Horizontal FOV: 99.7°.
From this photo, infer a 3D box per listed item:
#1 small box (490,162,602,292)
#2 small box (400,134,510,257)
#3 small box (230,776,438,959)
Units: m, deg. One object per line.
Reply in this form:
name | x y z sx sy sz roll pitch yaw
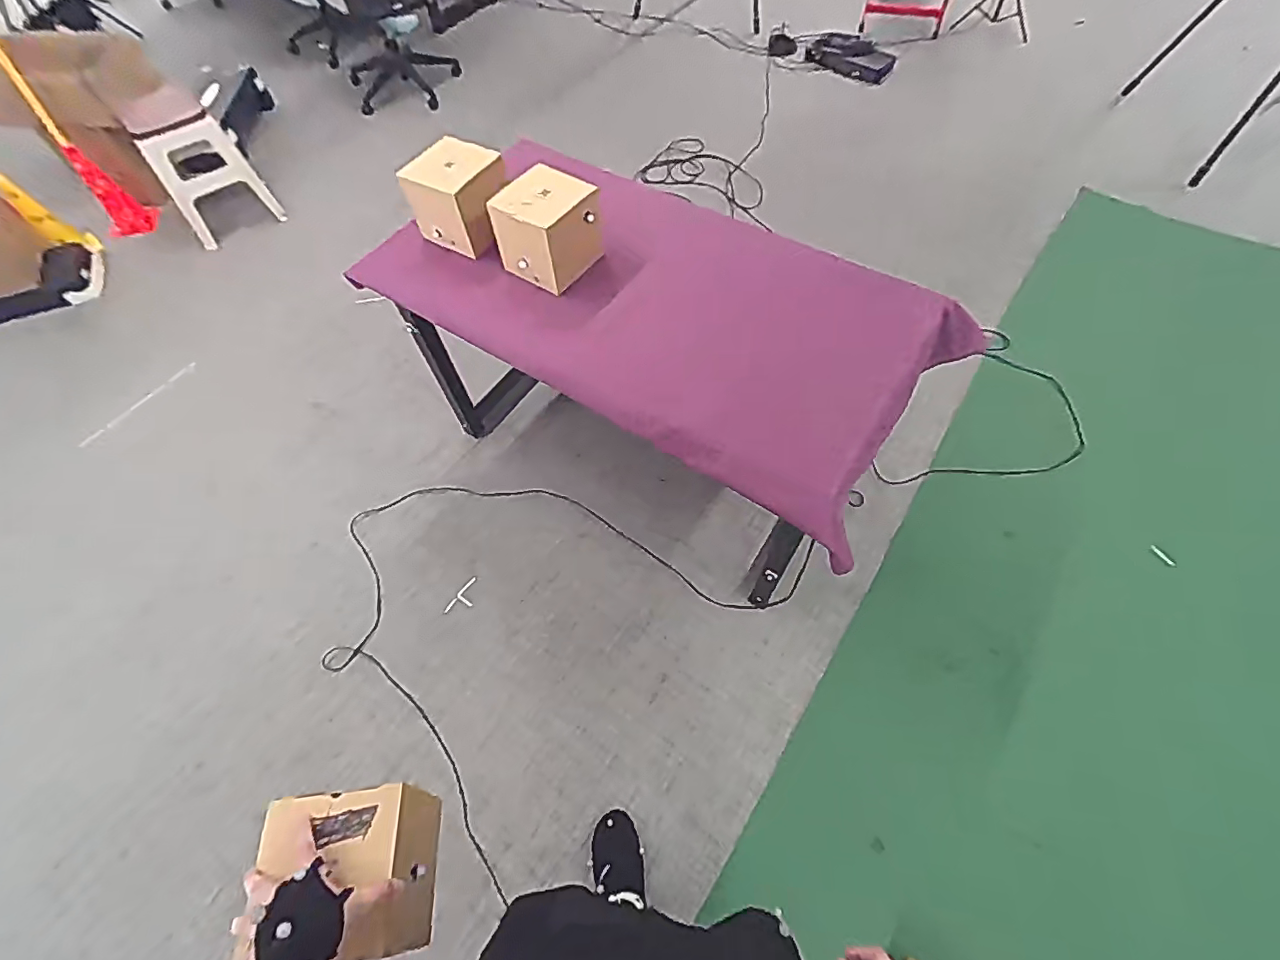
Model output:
small box | -0.198 -0.557 1.198 0.168 0.176 0.179 31 67 18
small box | -0.414 -0.663 1.266 0.168 0.176 0.179 26 65 16
small box | -0.374 0.504 0.703 0.168 0.176 0.179 -6 55 -3
